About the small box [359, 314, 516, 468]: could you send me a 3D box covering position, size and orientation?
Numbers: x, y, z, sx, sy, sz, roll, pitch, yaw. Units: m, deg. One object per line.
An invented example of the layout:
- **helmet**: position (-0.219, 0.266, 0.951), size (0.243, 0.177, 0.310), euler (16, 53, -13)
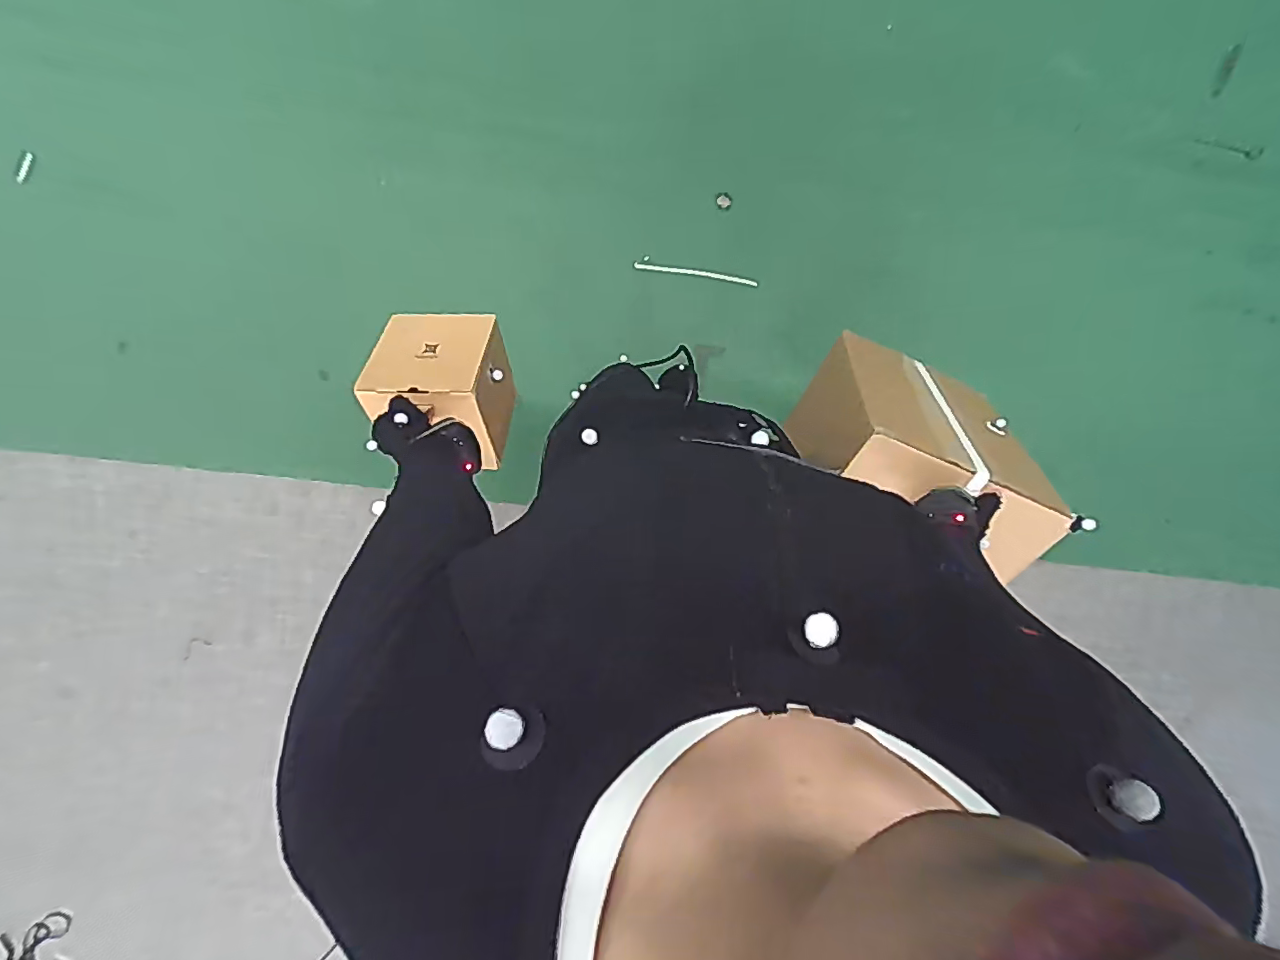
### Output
- **small box**: position (-0.302, -0.140, 0.854), size (0.168, 0.179, 0.176), euler (1, 143, 3)
